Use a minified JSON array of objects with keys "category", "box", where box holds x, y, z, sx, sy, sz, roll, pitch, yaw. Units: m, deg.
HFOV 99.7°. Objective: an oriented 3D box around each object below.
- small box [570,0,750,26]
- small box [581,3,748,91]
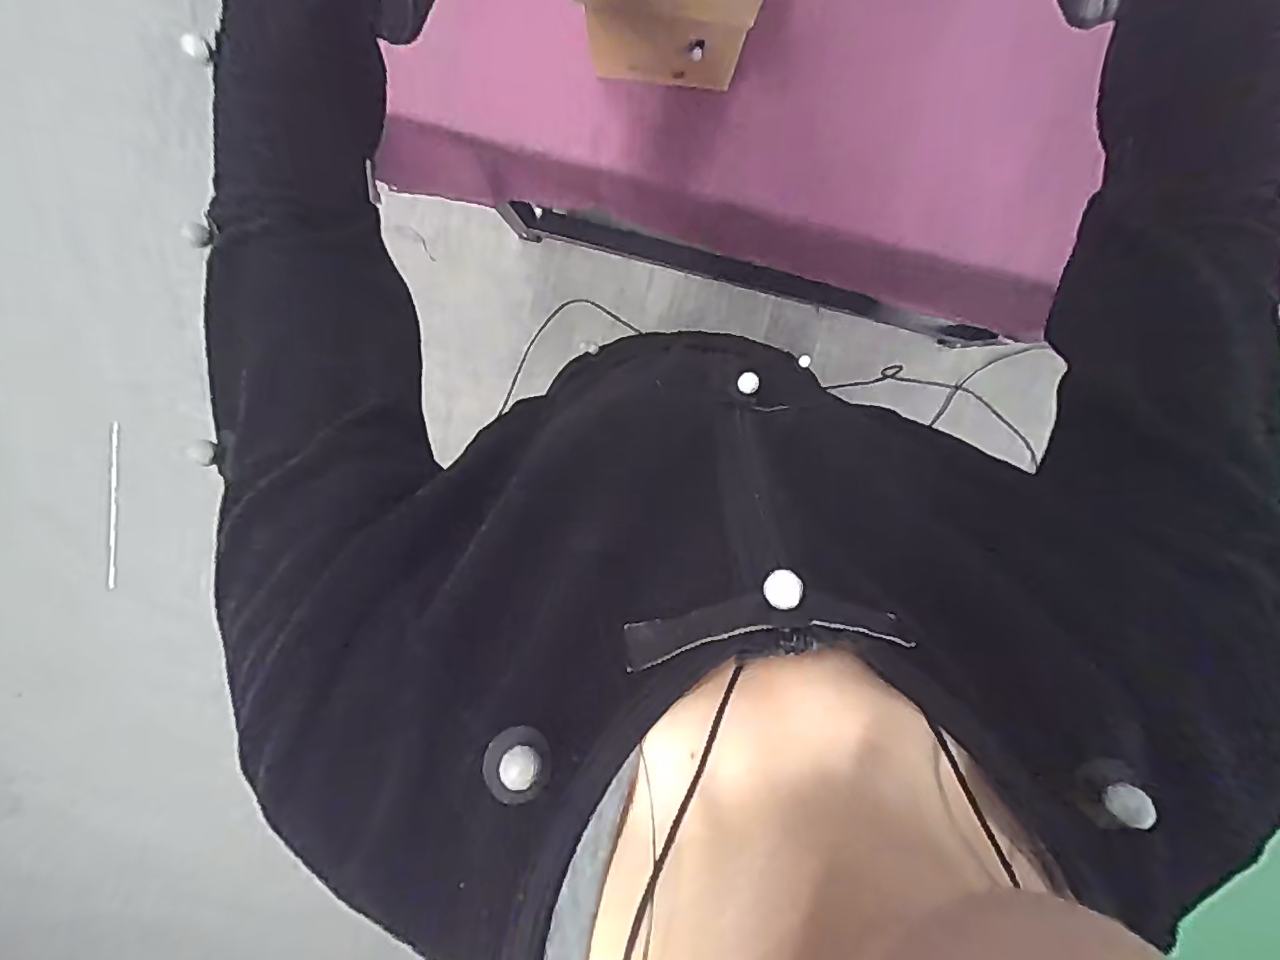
[{"category":"small box","box":[0.026,-0.490,0.408,0.179,0.176,0.168,6,102,-2]},{"category":"small box","box":[0.031,-0.547,0.564,0.168,0.176,0.179,6,100,-3]}]
